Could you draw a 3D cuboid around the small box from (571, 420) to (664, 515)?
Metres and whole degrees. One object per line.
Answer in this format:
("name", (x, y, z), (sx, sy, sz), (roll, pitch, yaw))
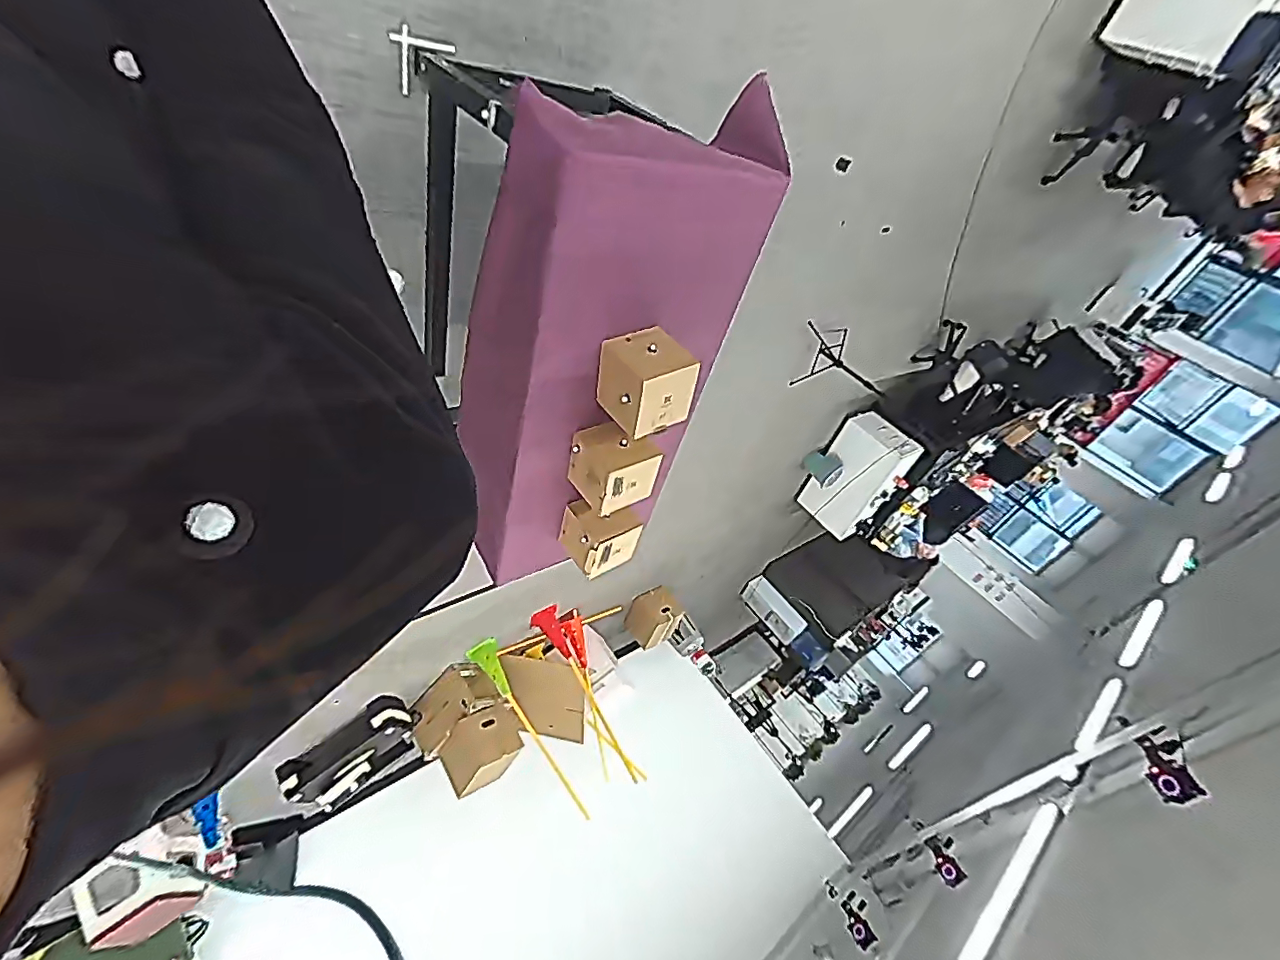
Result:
("small box", (-0.067, -0.040, 1.451), (0.179, 0.176, 0.168), (-22, 145, -33))

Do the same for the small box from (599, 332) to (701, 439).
("small box", (0.017, -0.235, 1.291), (0.168, 0.176, 0.179), (-24, 146, -29))
